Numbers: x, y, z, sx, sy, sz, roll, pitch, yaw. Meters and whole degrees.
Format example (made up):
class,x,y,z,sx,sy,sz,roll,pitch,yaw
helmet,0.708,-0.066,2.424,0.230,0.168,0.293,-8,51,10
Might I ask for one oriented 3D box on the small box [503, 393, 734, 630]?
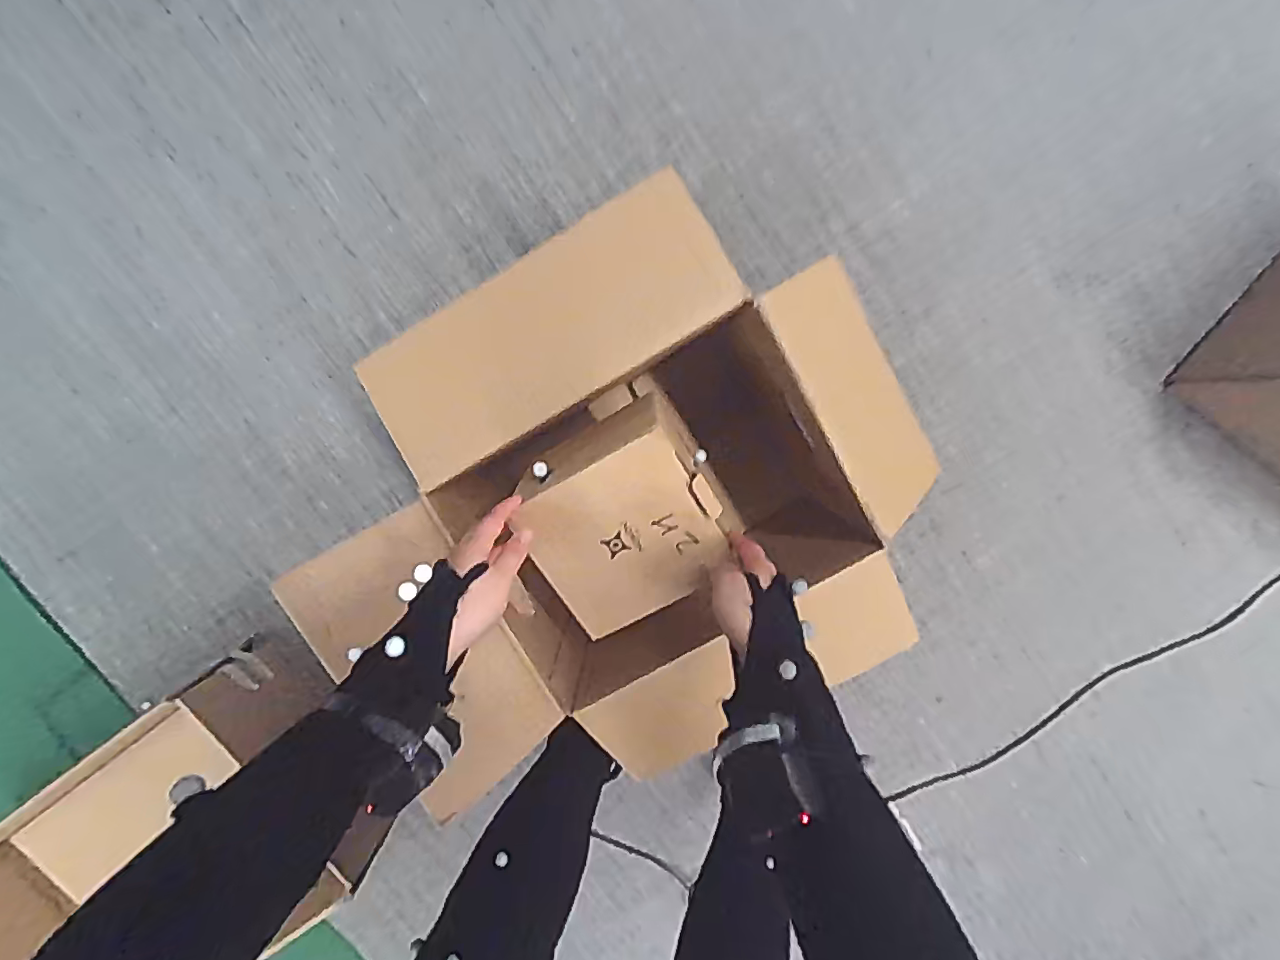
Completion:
class,x,y,z,sx,sy,sz,roll,pitch,yaw
small box,-0.019,0.025,0.602,0.179,0.176,0.168,-29,108,10
